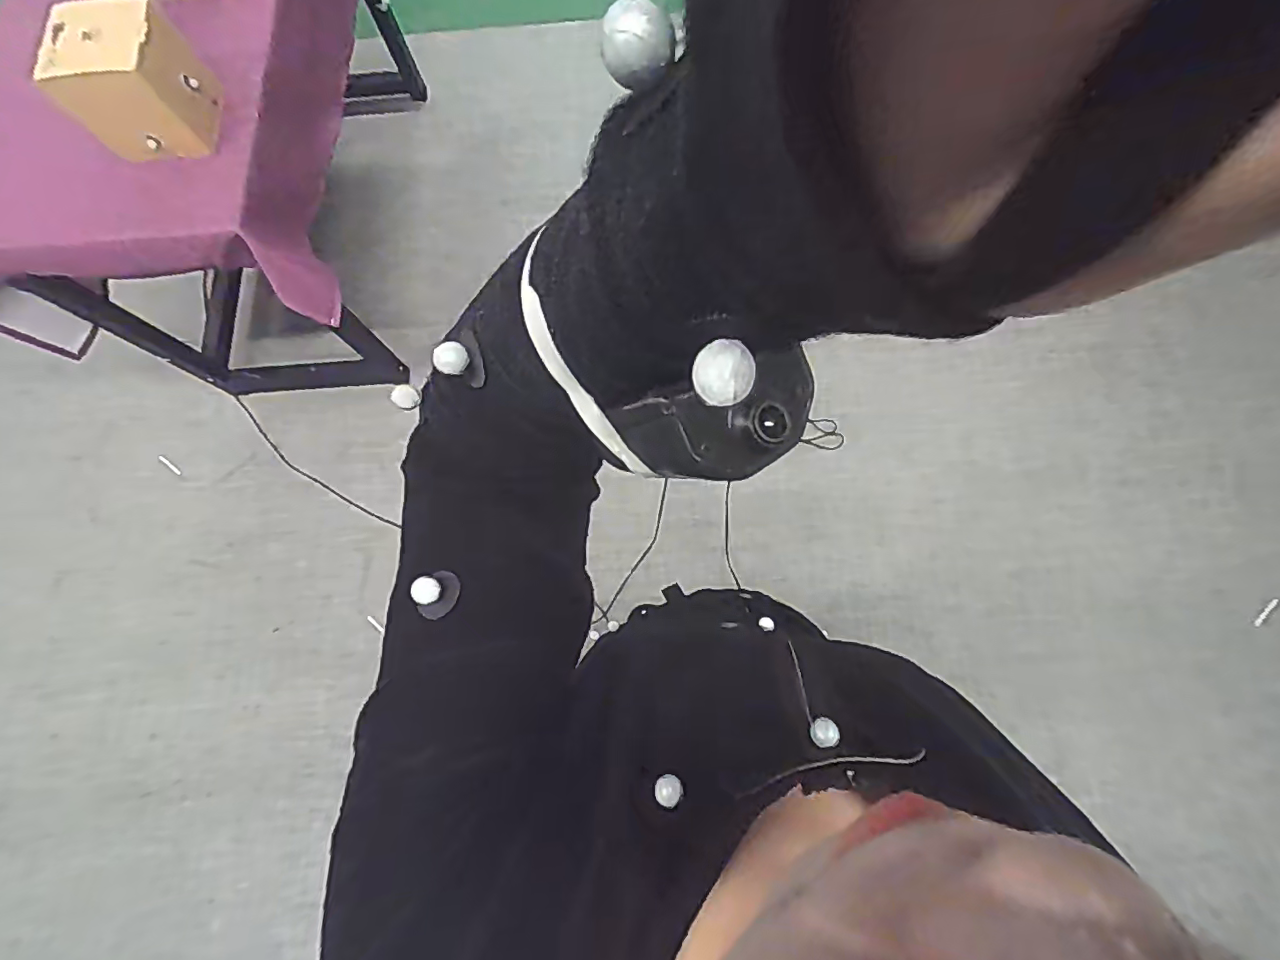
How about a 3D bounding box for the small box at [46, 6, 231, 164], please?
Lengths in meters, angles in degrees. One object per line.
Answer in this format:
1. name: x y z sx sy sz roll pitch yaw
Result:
1. small box: -0.900 -0.714 0.991 0.179 0.176 0.168 -3 75 2
